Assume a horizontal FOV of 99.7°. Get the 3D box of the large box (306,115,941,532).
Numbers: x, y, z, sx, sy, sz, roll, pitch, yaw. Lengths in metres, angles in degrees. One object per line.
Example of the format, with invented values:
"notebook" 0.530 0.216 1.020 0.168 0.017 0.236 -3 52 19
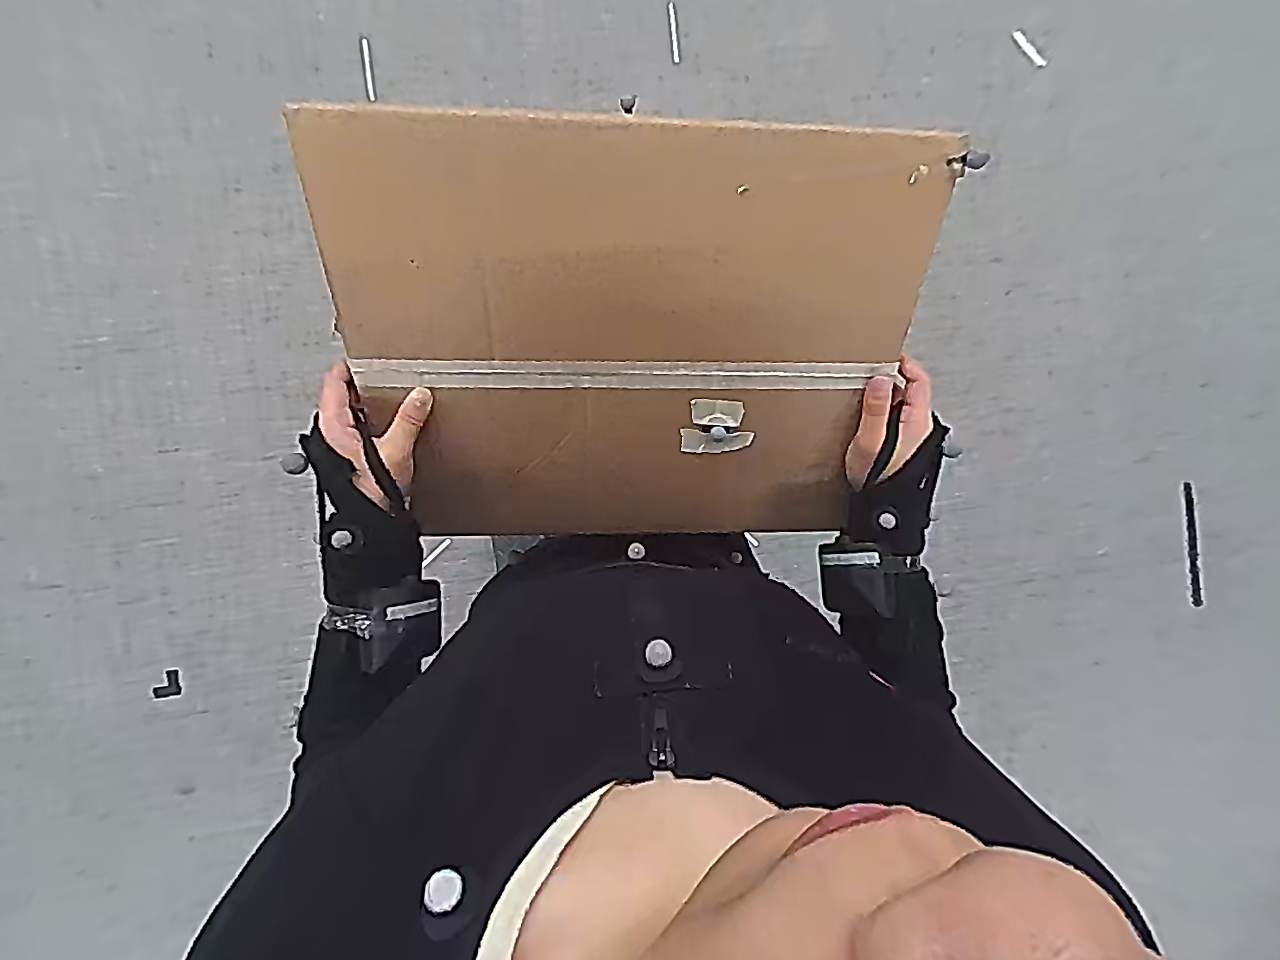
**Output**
"large box" -0.019 -0.171 0.537 0.408 0.320 0.320 -2 125 -5
